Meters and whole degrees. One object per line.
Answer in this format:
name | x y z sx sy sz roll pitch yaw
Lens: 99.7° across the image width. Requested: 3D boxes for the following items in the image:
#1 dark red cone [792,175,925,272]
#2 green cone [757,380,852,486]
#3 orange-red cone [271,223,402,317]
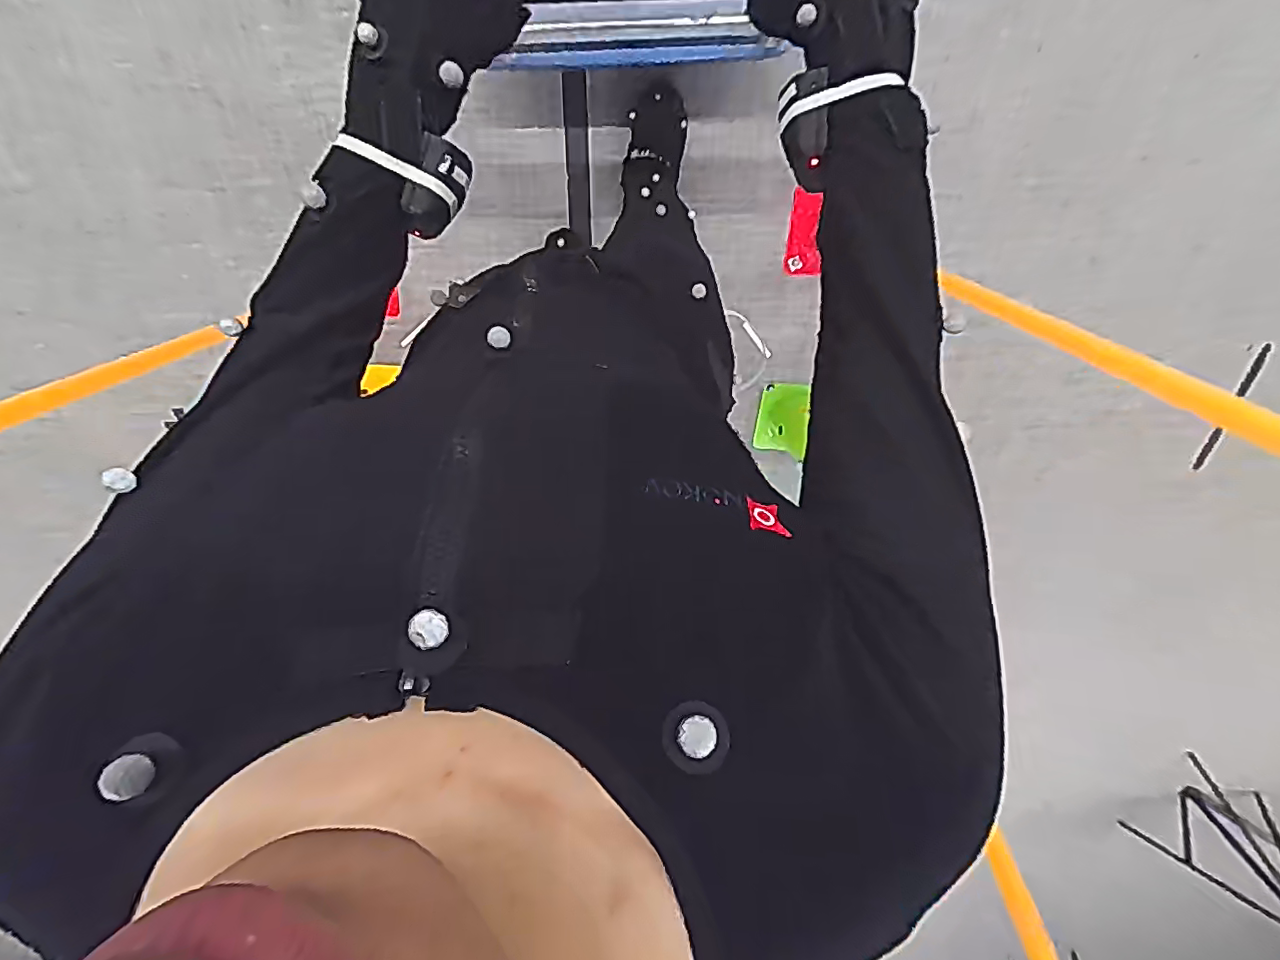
dark red cone | 0.462 -0.495 1.097 0.201 0.394 0.202 -2 122 -3
green cone | 0.445 -0.092 1.368 0.202 0.368 0.200 2 122 -4
orange-red cone | -0.668 -0.409 1.142 0.198 0.360 0.199 5 120 -6
